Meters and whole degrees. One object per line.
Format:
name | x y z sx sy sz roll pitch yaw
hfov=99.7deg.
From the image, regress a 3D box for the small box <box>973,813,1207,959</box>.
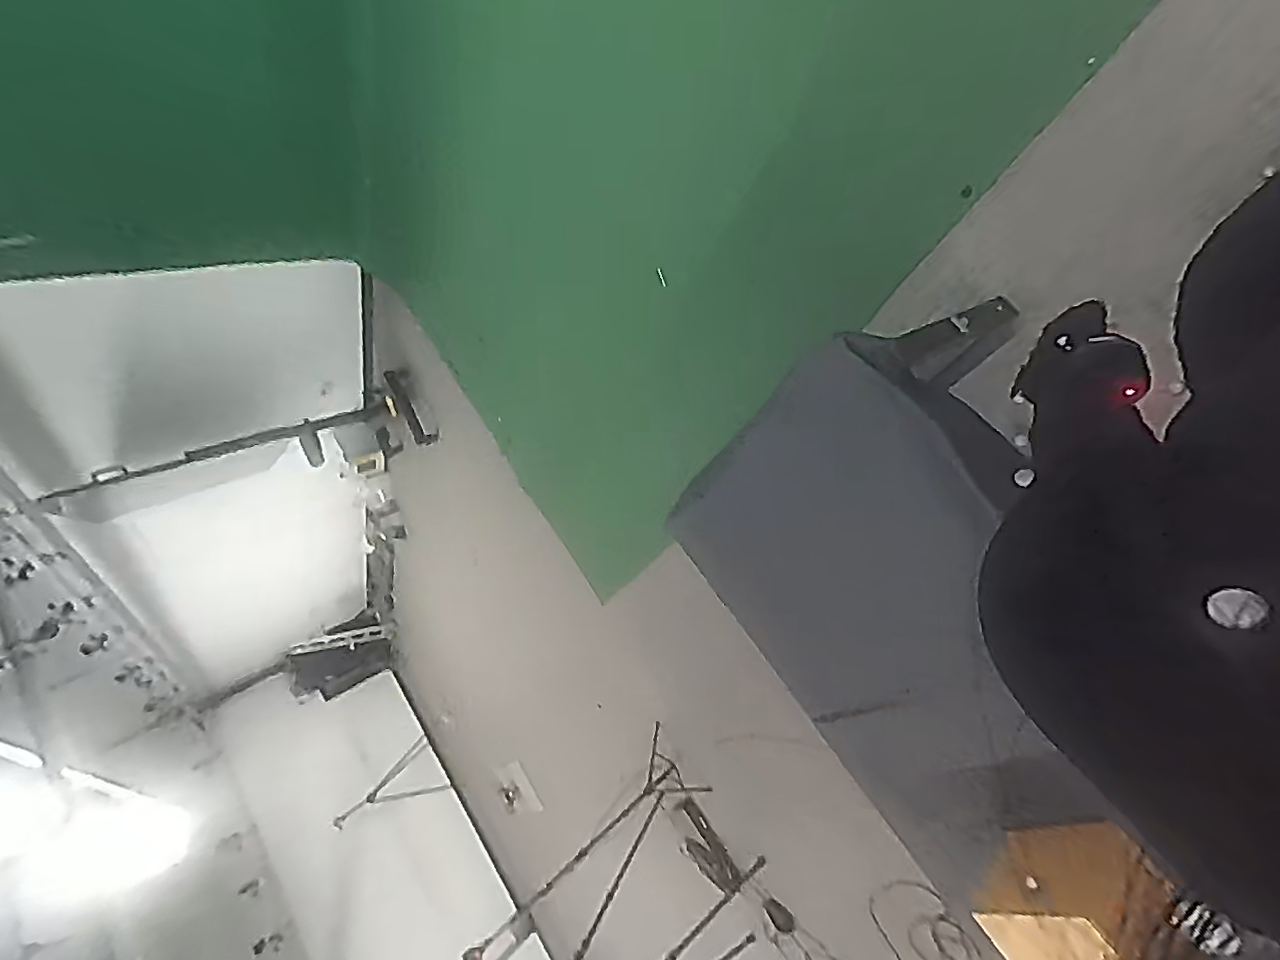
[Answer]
small box | 0.621 0.599 0.750 0.168 0.176 0.179 52 140 18
